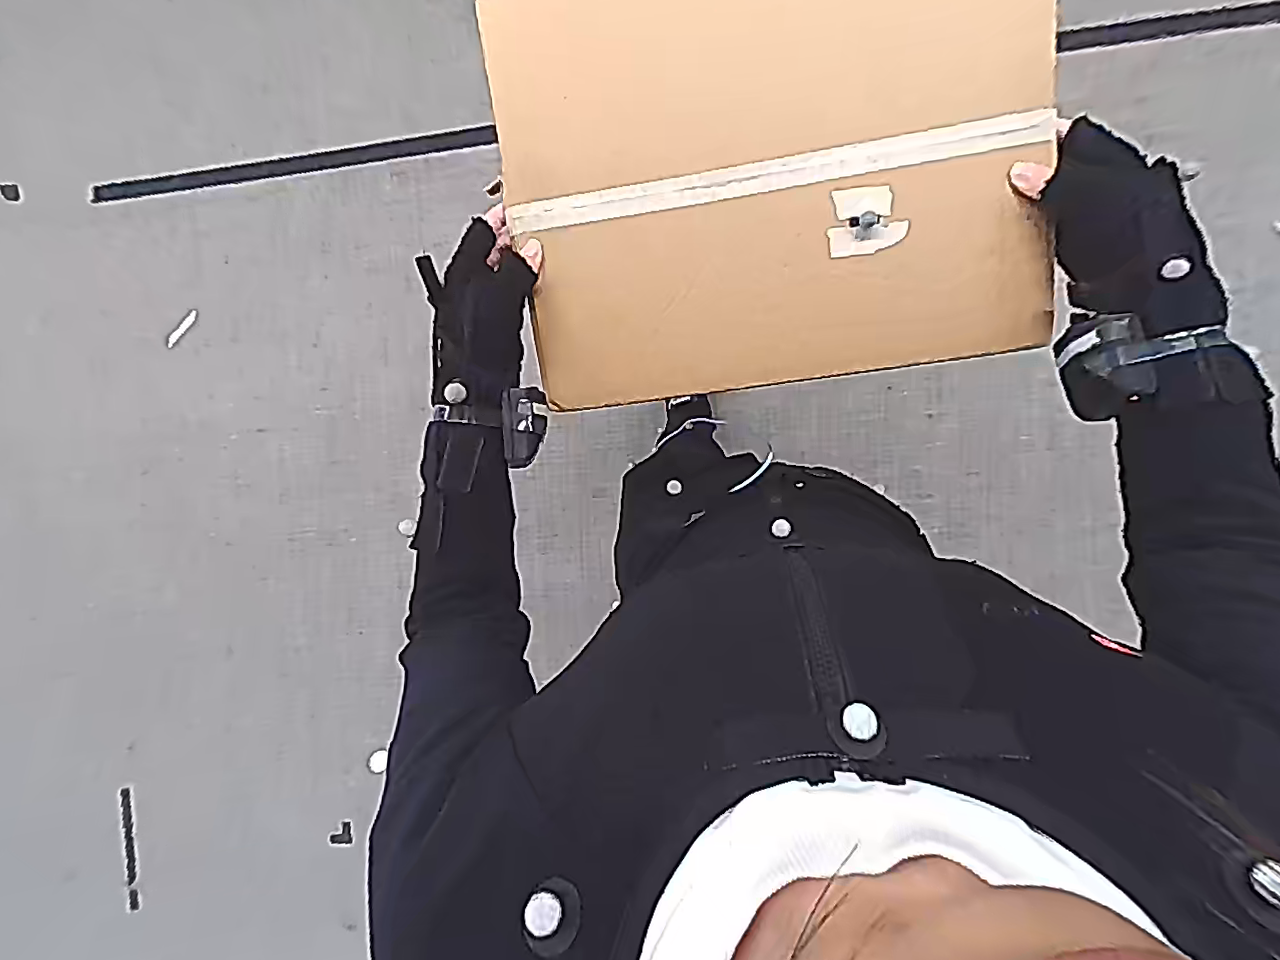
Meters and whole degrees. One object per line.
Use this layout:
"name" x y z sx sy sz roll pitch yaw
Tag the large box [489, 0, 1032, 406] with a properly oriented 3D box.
"large box" 0.107 -0.271 0.573 0.408 0.320 0.320 -7 103 6
